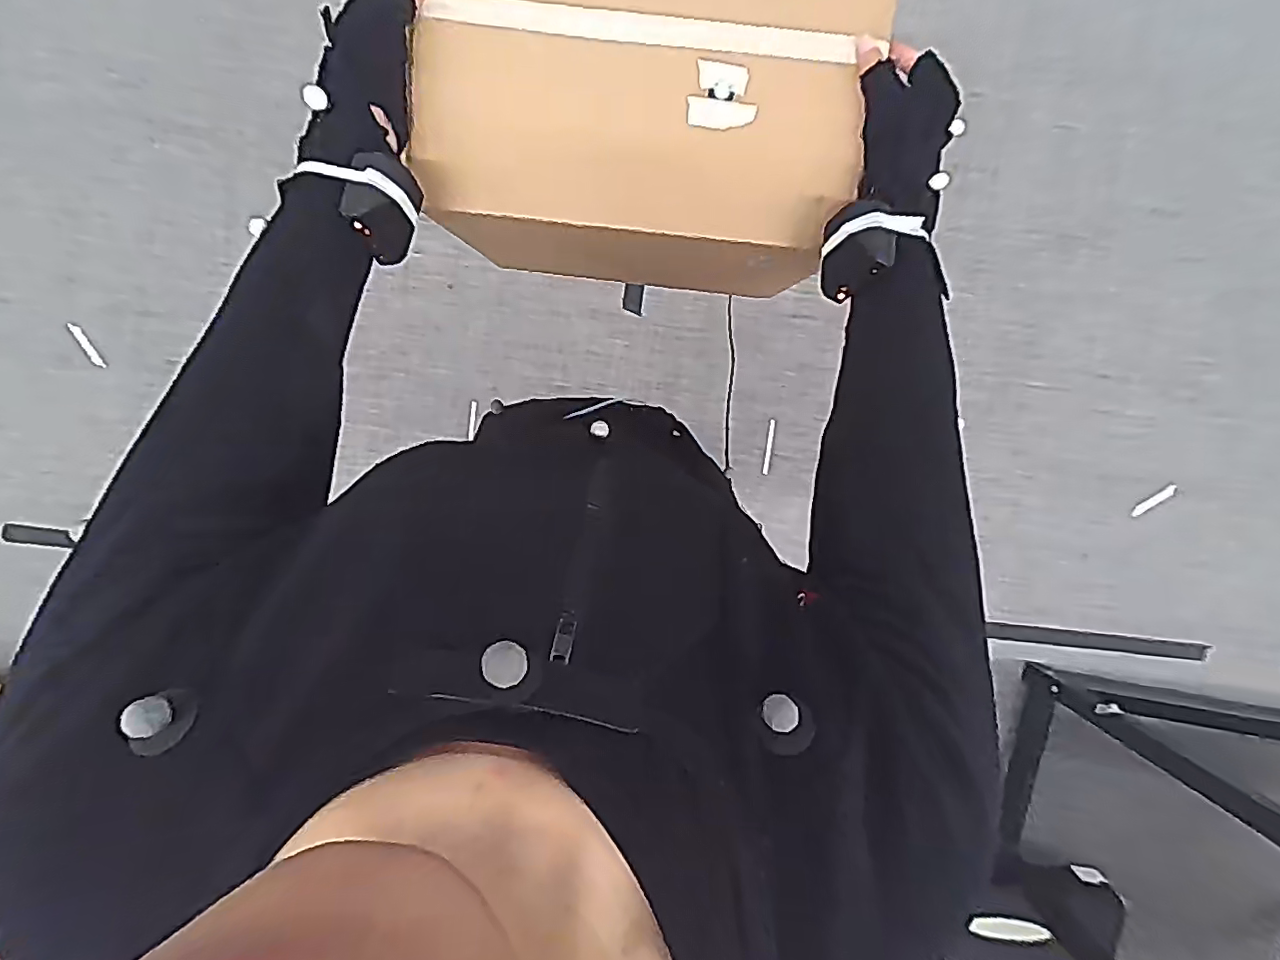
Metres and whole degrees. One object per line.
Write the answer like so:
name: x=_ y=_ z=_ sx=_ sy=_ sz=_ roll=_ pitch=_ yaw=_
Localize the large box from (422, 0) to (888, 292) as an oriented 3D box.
large box: x=0.008 y=-0.411 z=0.614 sx=0.408 sy=0.320 sz=0.320 roll=5 pitch=102 yaw=-2
